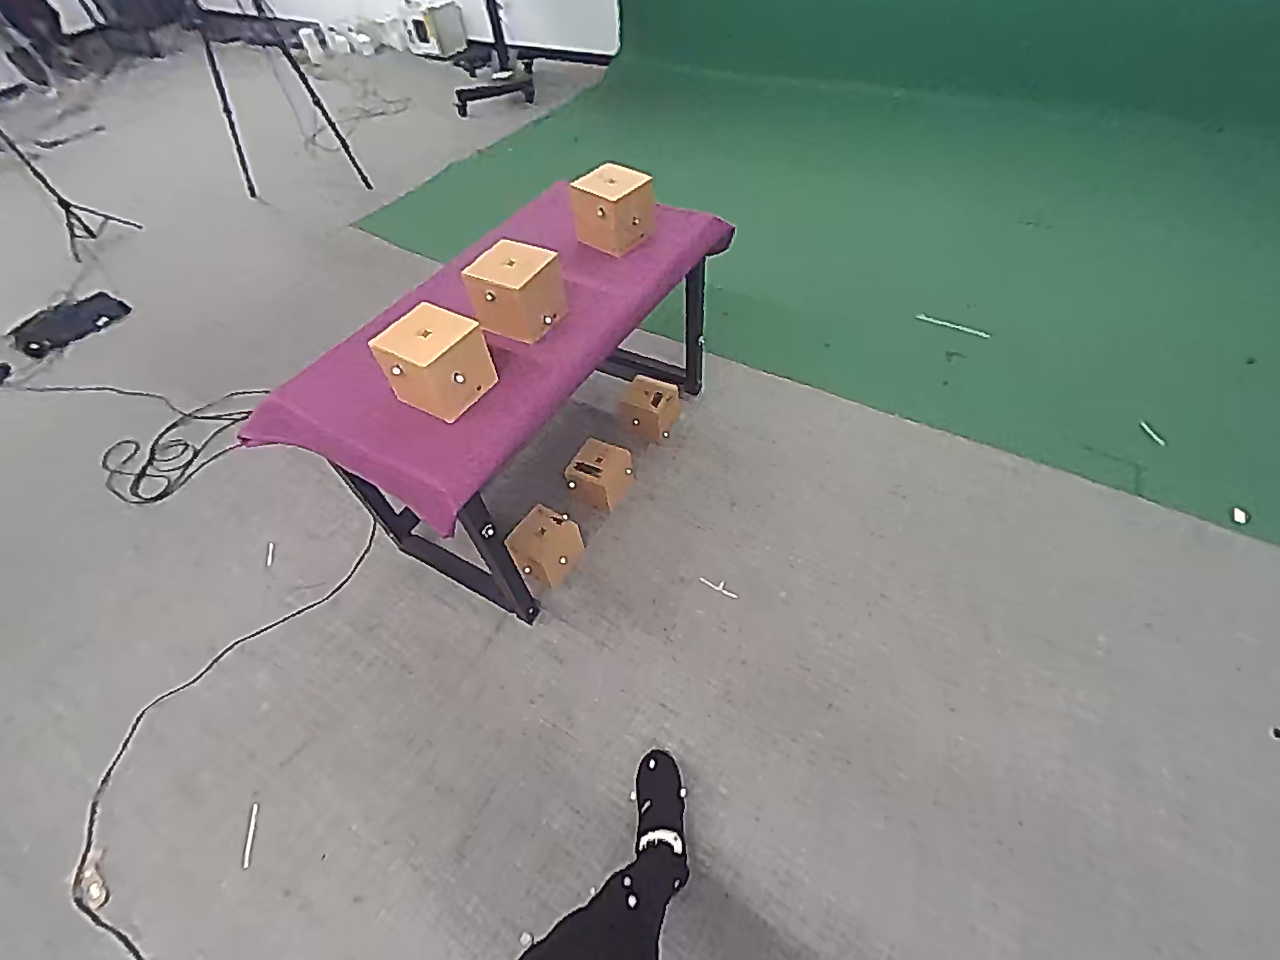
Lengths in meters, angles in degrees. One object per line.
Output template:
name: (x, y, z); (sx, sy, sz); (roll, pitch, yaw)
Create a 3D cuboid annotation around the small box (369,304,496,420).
small box: (-0.452, -0.259, 1.210); (0.179, 0.176, 0.168); (24, 58, 23)

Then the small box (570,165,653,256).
small box: (-0.075, -0.779, 1.575); (0.179, 0.176, 0.168); (34, 62, 27)

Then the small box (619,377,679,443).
small box: (0.040, -0.266, 2.087); (0.179, 0.176, 0.168); (21, 57, 21)

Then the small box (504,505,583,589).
small box: (-0.301, 0.221, 1.744); (0.168, 0.176, 0.179); (26, 60, 23)

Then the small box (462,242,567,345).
small box: (-0.306, -0.465, 1.357); (0.179, 0.176, 0.168); (23, 58, 20)
